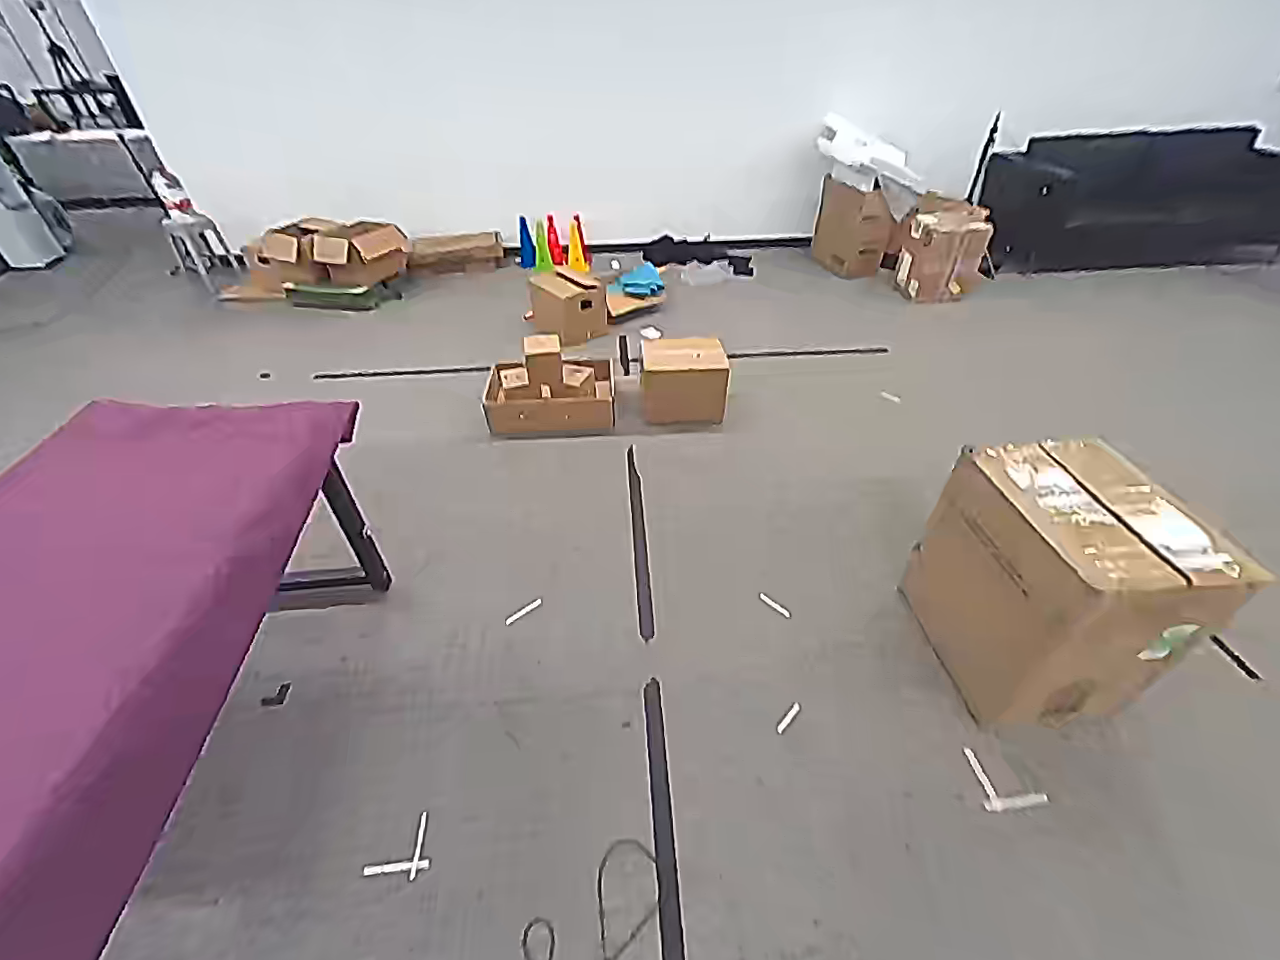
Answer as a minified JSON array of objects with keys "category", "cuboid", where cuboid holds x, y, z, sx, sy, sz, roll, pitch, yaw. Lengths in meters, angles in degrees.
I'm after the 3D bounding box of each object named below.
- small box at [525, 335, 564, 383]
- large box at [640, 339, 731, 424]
[{"category":"small box","cuboid":[-0.455,-0.571,2.576,0.168,0.176,0.179,-7,40,-9]},{"category":"large box","cuboid":[0.213,-0.494,2.704,0.408,0.320,0.320,-2,41,-4]}]
